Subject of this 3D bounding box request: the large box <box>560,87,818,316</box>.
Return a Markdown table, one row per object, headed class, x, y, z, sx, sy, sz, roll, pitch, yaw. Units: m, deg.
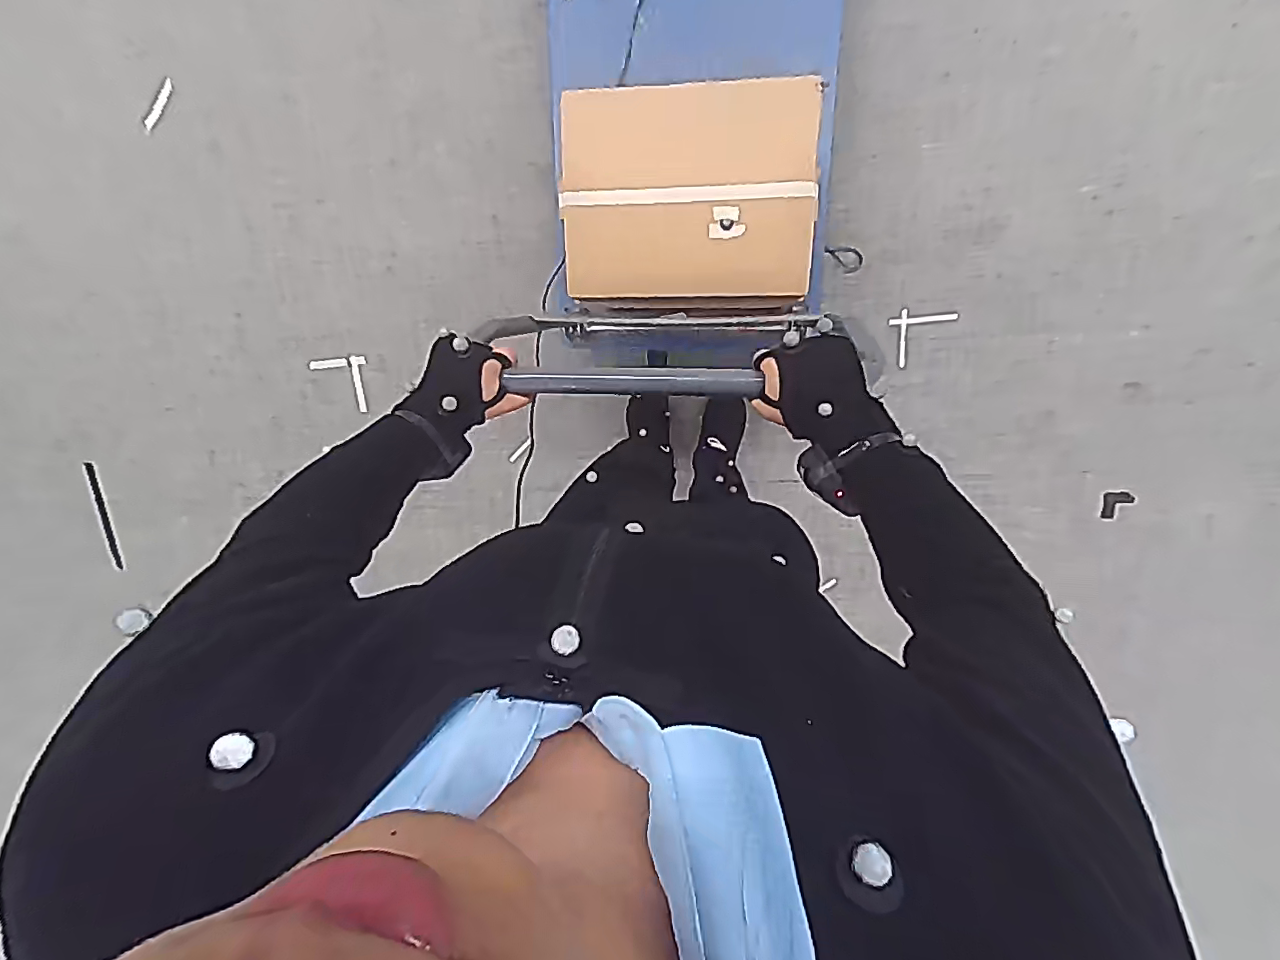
| class | x | y | z | sx | sy | sz | roll | pitch | yaw |
| --- | --- | --- | --- | --- | --- | --- | --- | --- | --- |
| large box | 0.088 | -0.479 | 1.011 | 0.408 | 0.320 | 0.320 | 2 | 105 | 7 |
